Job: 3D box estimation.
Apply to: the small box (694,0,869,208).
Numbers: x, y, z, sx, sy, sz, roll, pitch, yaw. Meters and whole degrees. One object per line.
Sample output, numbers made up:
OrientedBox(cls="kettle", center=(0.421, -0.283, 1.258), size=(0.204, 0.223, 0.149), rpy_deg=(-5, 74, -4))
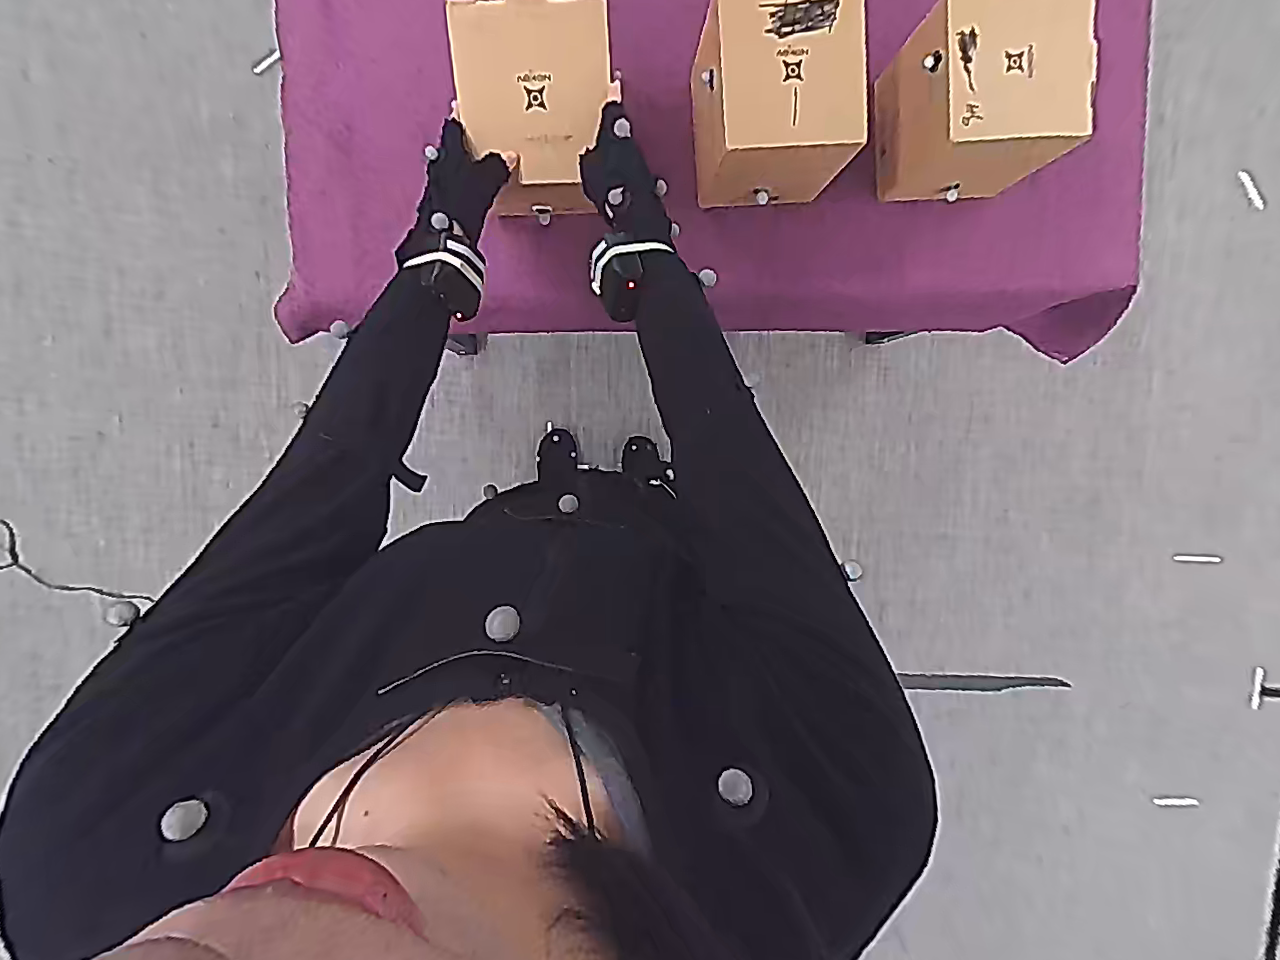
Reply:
OrientedBox(cls="small box", center=(0.164, -0.464, 0.672), size=(0.168, 0.176, 0.179), rpy_deg=(-5, 96, -4))

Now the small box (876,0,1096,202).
OrientedBox(cls="small box", center=(0.427, -0.475, 0.691), size=(0.179, 0.176, 0.168), rpy_deg=(-4, 95, -4))

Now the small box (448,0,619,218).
OrientedBox(cls="small box", center=(-0.114, -0.428, 0.645), size=(0.168, 0.176, 0.179), rpy_deg=(-4, 105, -2))
